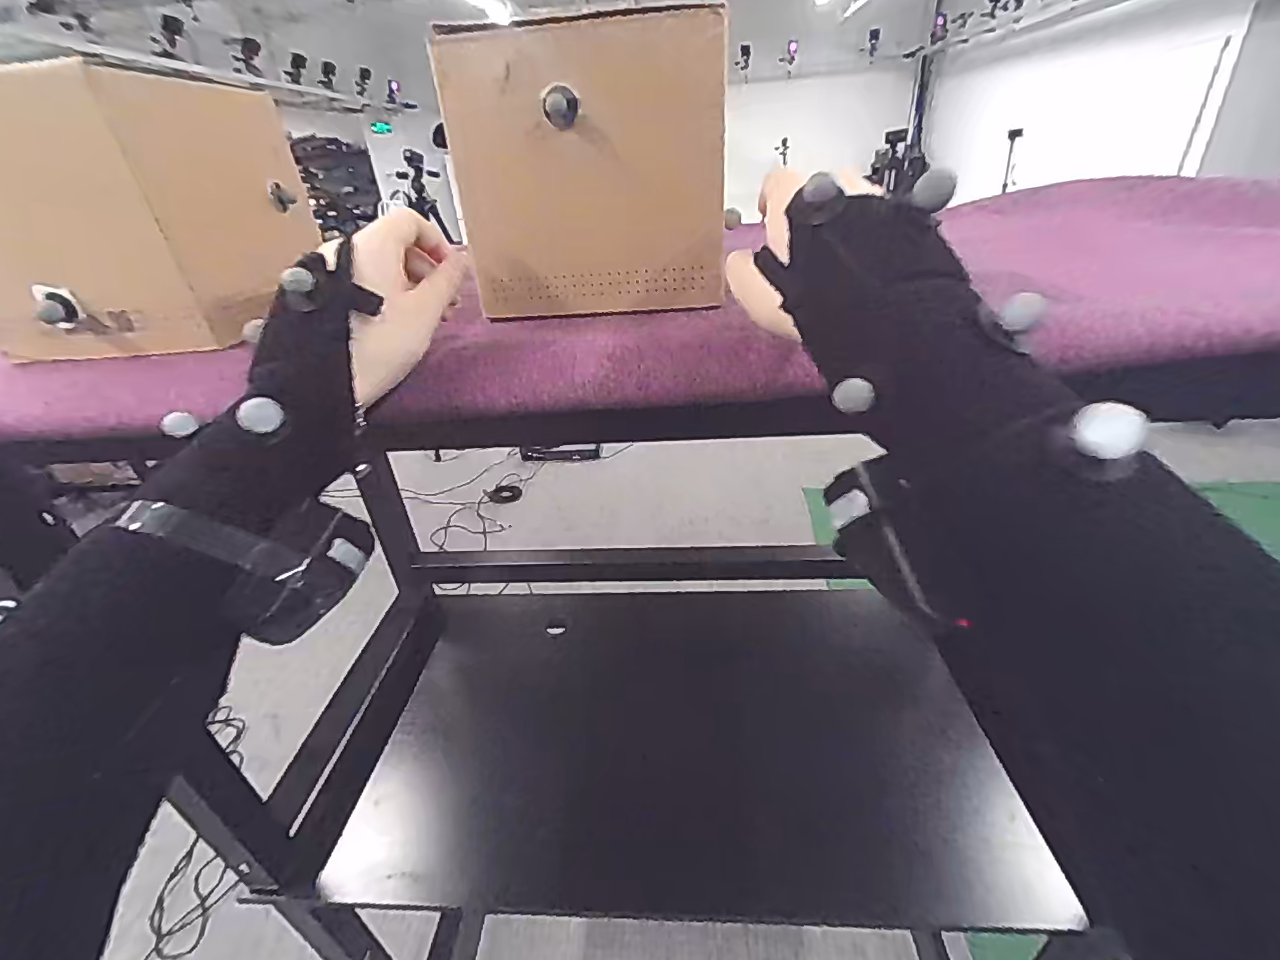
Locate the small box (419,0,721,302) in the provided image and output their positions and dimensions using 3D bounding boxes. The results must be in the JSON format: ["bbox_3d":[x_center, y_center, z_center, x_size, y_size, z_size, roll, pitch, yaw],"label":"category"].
[{"bbox_3d":[-0.030,-0.237,0.409,0.179,0.176,0.168,-1,29,6],"label":"small box"}]

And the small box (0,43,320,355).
[{"bbox_3d":[-0.380,-0.204,0.410,0.168,0.176,0.179,-5,32,3],"label":"small box"}]
